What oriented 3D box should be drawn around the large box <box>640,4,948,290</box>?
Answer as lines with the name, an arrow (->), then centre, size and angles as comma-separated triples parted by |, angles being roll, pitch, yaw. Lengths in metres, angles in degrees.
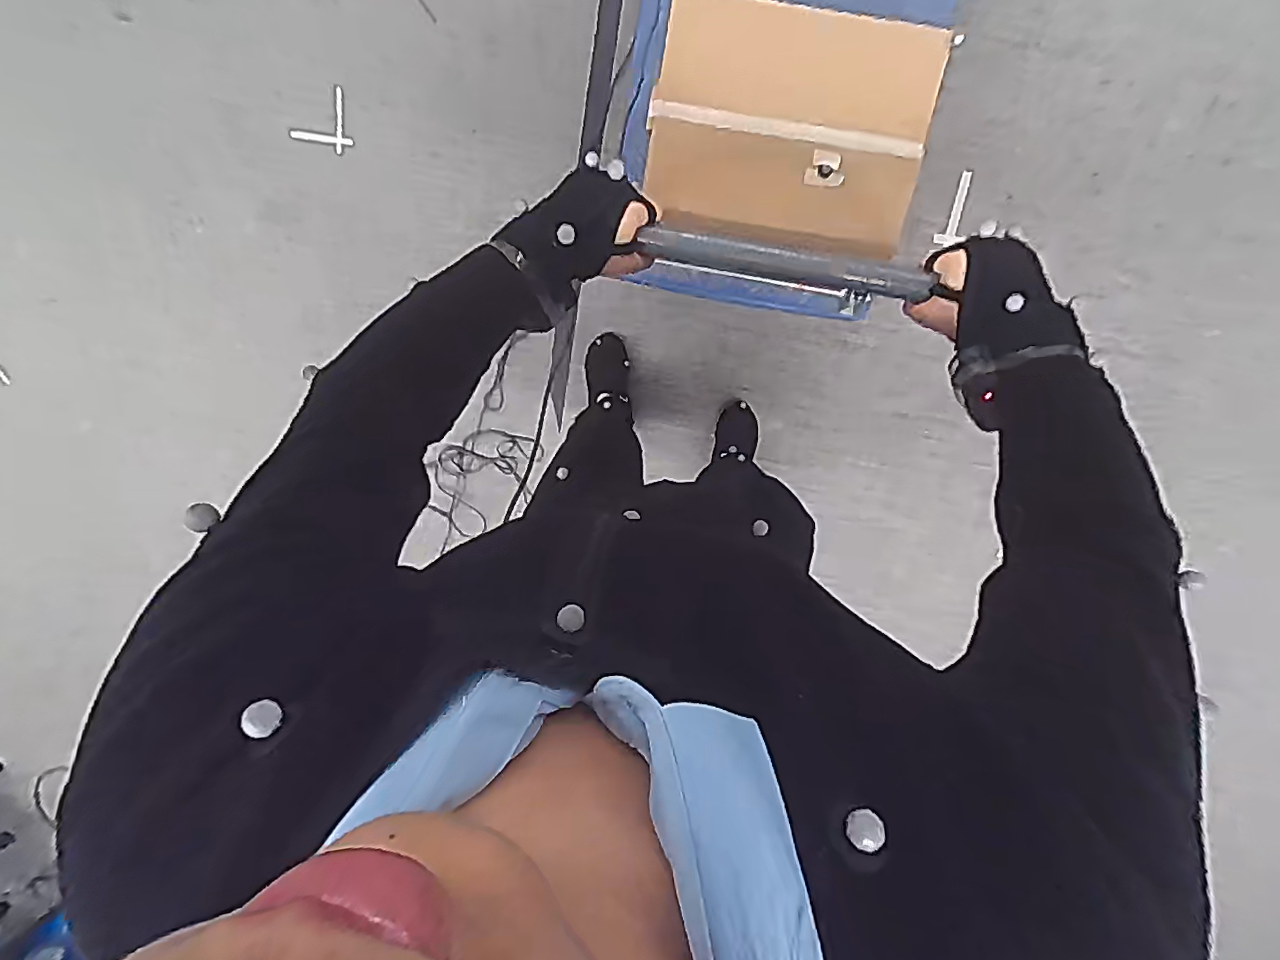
large box -> 0.224, -0.535, 0.946 | 0.408, 0.320, 0.320 | 11, 106, 0
